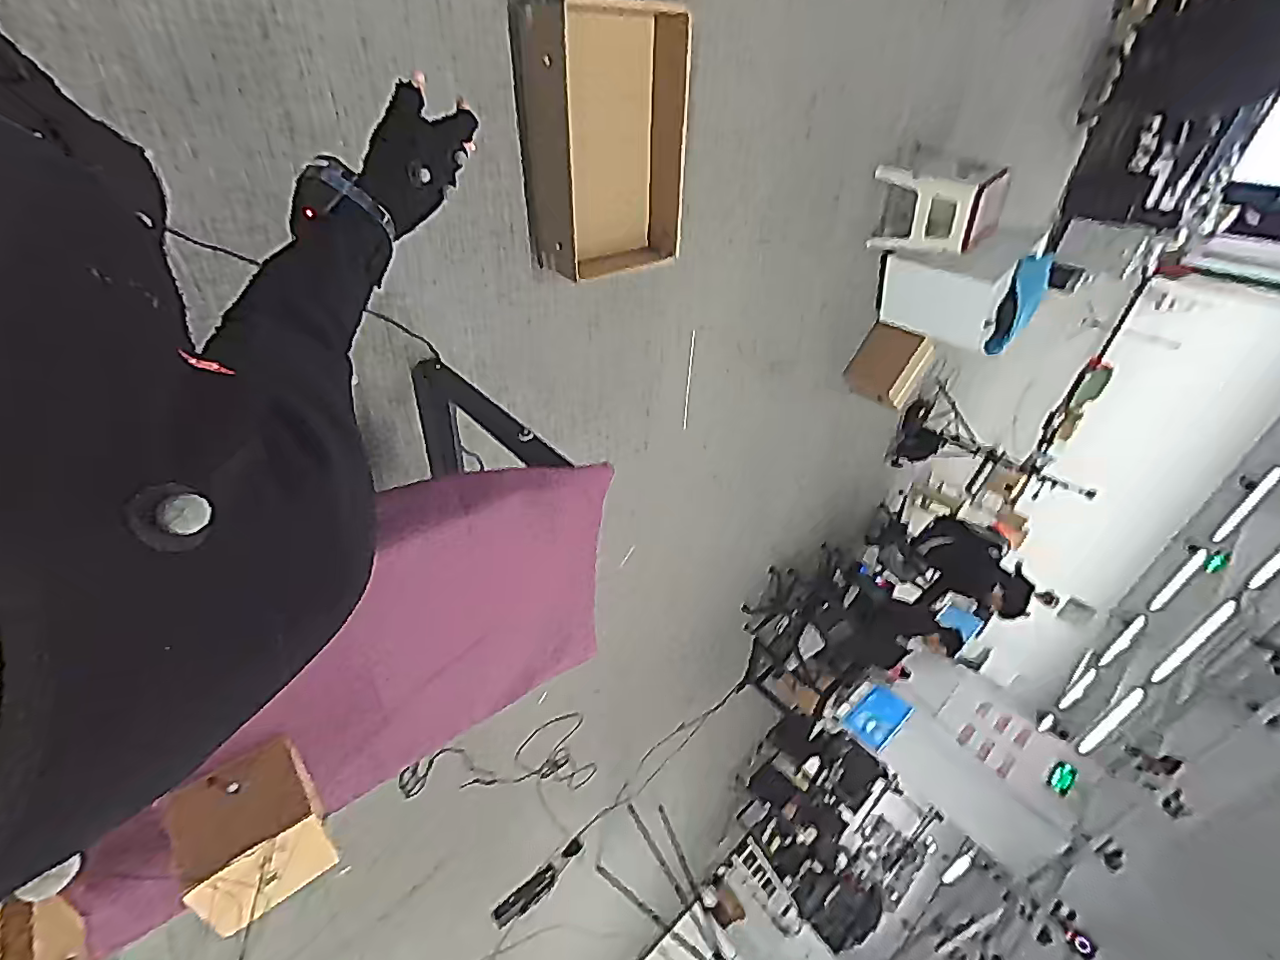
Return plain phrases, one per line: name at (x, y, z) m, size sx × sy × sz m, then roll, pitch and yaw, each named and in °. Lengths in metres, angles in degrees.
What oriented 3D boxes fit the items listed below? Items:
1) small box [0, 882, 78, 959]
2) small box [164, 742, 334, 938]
small box at (-0.856, 0.670, 0.689) m, size 0.168 × 0.176 × 0.179 m, roll -20°, pitch 133°, yaw -39°
small box at (-0.623, 0.567, 0.870) m, size 0.168 × 0.176 × 0.179 m, roll -24°, pitch 134°, yaw -36°
